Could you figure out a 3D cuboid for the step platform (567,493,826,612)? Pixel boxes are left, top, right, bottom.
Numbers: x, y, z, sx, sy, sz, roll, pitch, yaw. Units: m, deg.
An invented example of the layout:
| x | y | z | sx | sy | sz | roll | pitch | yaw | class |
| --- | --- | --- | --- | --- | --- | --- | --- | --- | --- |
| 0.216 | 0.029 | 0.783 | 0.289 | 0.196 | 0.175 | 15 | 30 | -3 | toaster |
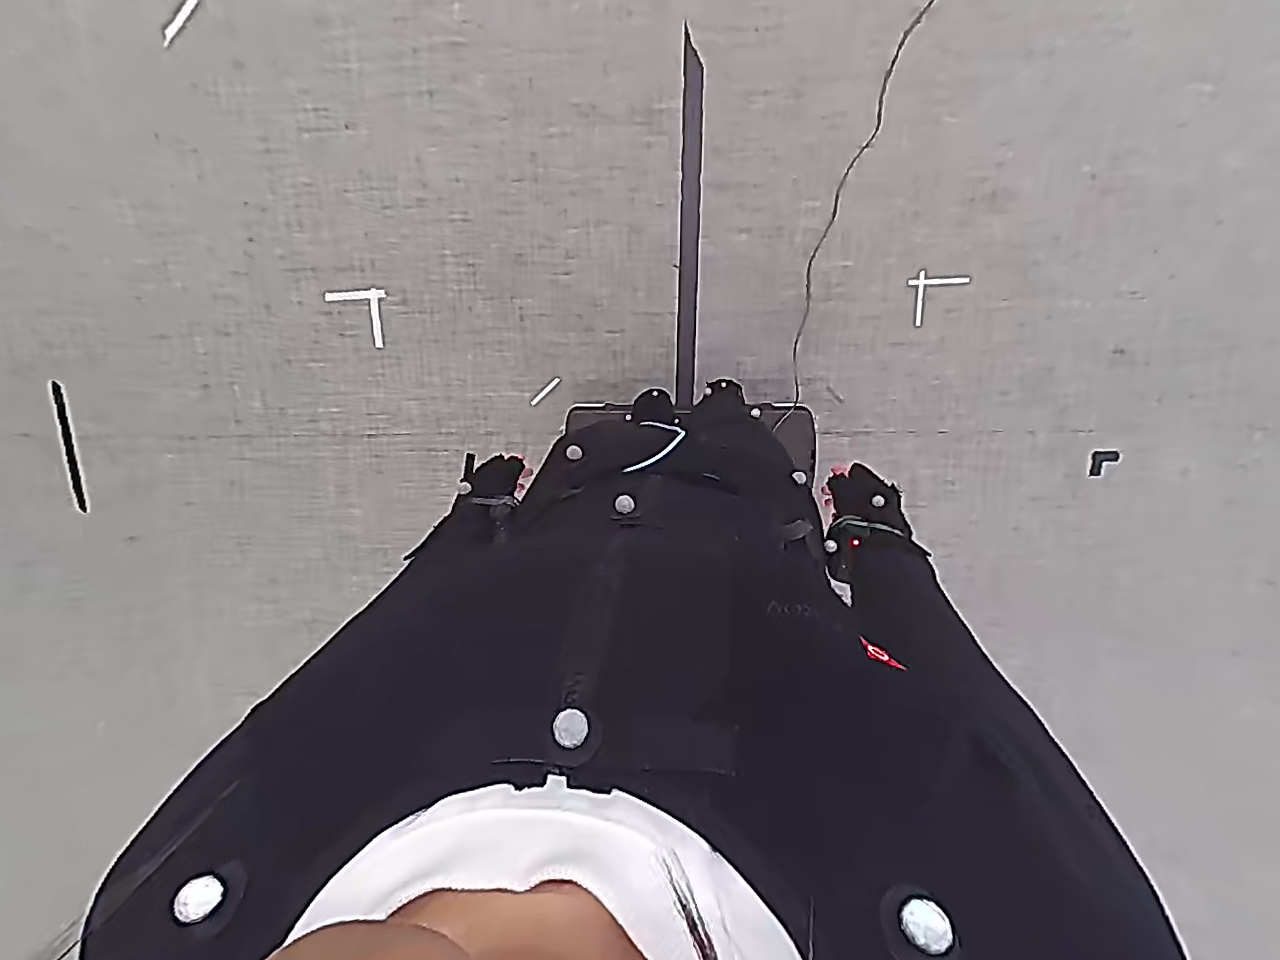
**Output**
| x | y | z | sx | sy | sz | roll | pitch | yaw | class |
| --- | --- | --- | --- | --- | --- | --- | --- | --- | --- |
| 0.146 | 0.193 | 1.469 | 0.684 | 0.204 | 0.286 | 0 | 100 | 5 | step platform |
